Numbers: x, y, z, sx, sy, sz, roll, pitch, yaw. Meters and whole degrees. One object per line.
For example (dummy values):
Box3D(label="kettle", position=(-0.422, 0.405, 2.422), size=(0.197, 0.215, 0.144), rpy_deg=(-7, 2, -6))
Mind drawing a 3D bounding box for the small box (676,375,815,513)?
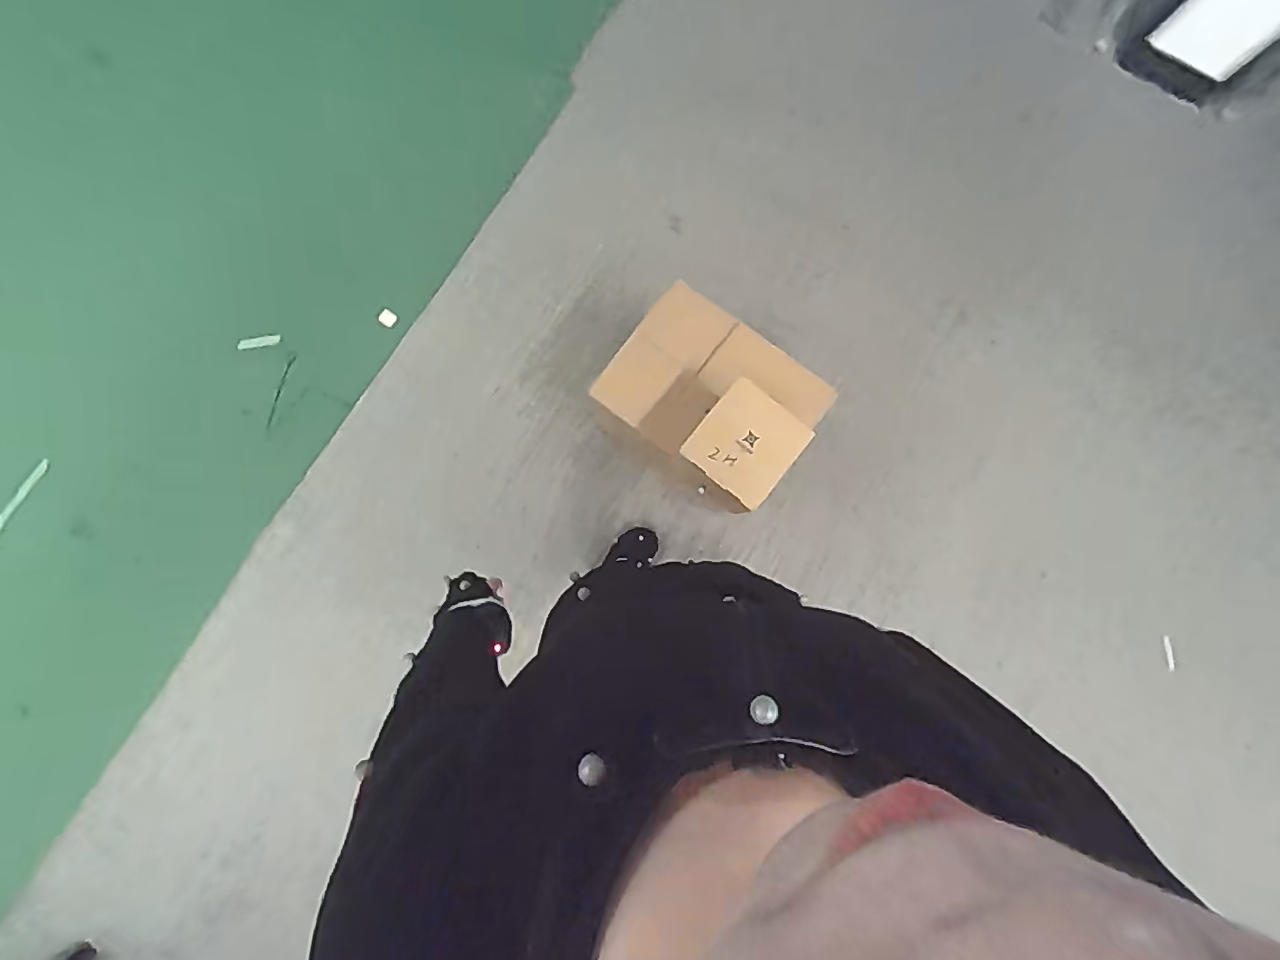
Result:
Box3D(label="small box", position=(0.179, -0.057, 0.989), size=(0.168, 0.176, 0.179), rpy_deg=(40, 85, 3))
